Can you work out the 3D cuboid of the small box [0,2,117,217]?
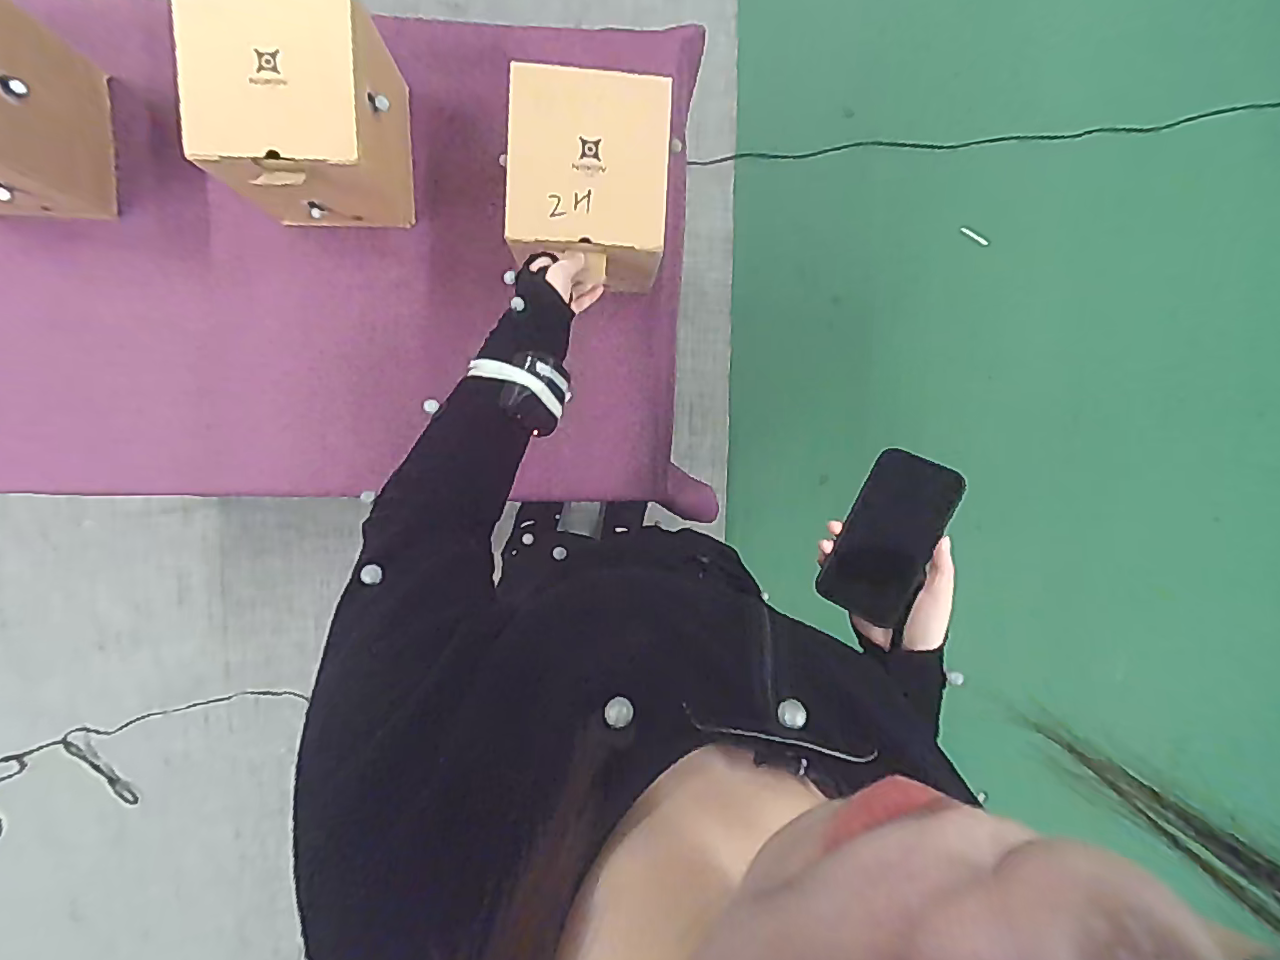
[{"bbox_3d":[-0.716,-0.403,0.578,0.168,0.176,0.179,1,95,-6],"label":"small box"}]

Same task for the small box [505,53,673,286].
[{"bbox_3d":[-0.058,-0.343,0.630,0.168,0.176,0.179,3,95,-4],"label":"small box"}]

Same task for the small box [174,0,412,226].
[{"bbox_3d":[-0.368,-0.408,0.605,0.168,0.176,0.179,-1,95,-4],"label":"small box"}]
